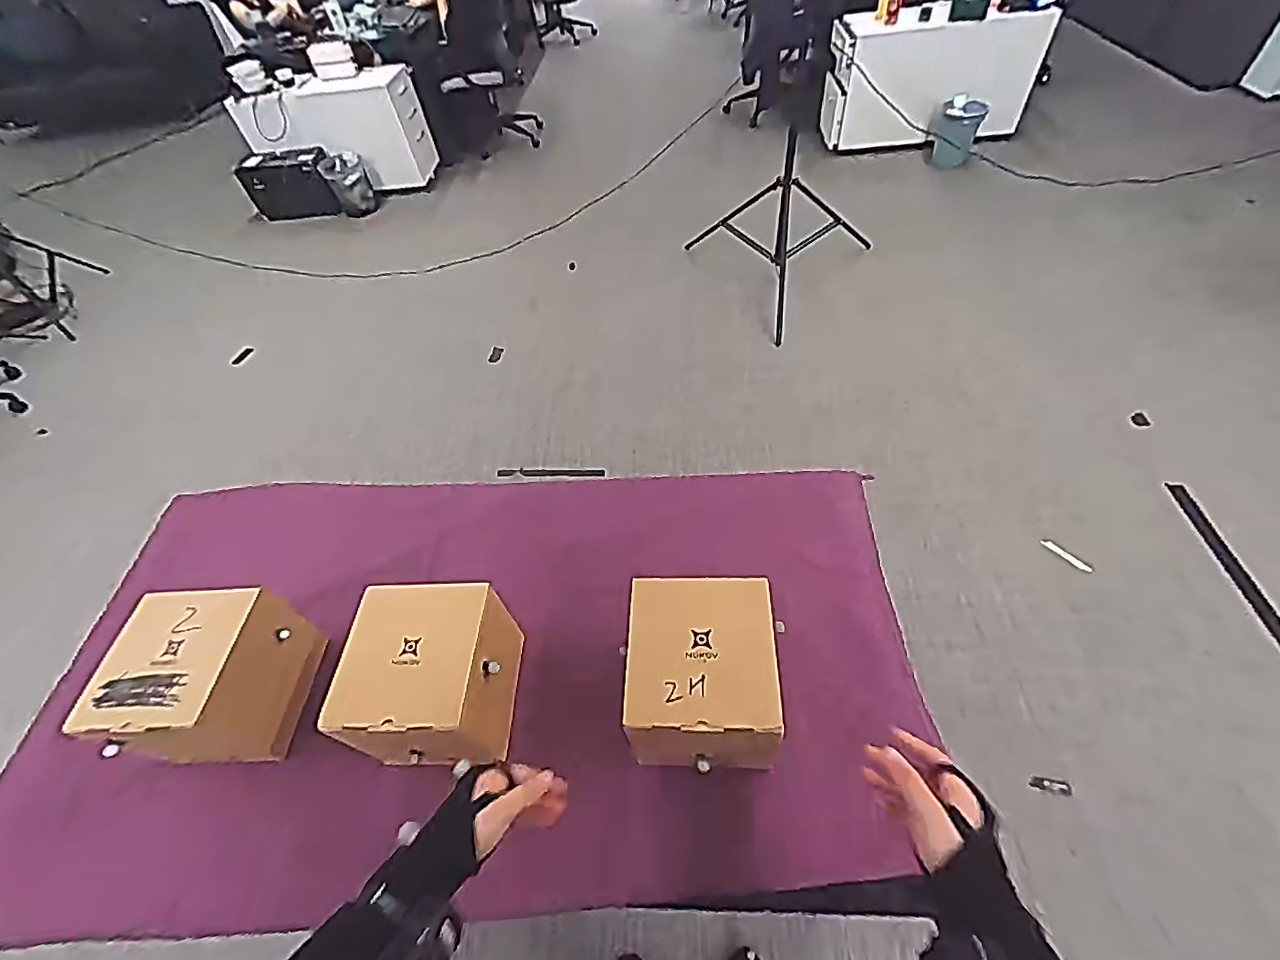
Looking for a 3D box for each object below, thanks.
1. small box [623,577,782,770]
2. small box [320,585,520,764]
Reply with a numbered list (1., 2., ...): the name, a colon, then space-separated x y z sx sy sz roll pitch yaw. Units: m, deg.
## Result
1. small box: 0.075 0.237 0.664 0.168 0.176 0.179 -2 50 7
2. small box: -0.263 0.253 0.699 0.168 0.176 0.179 -3 52 5
